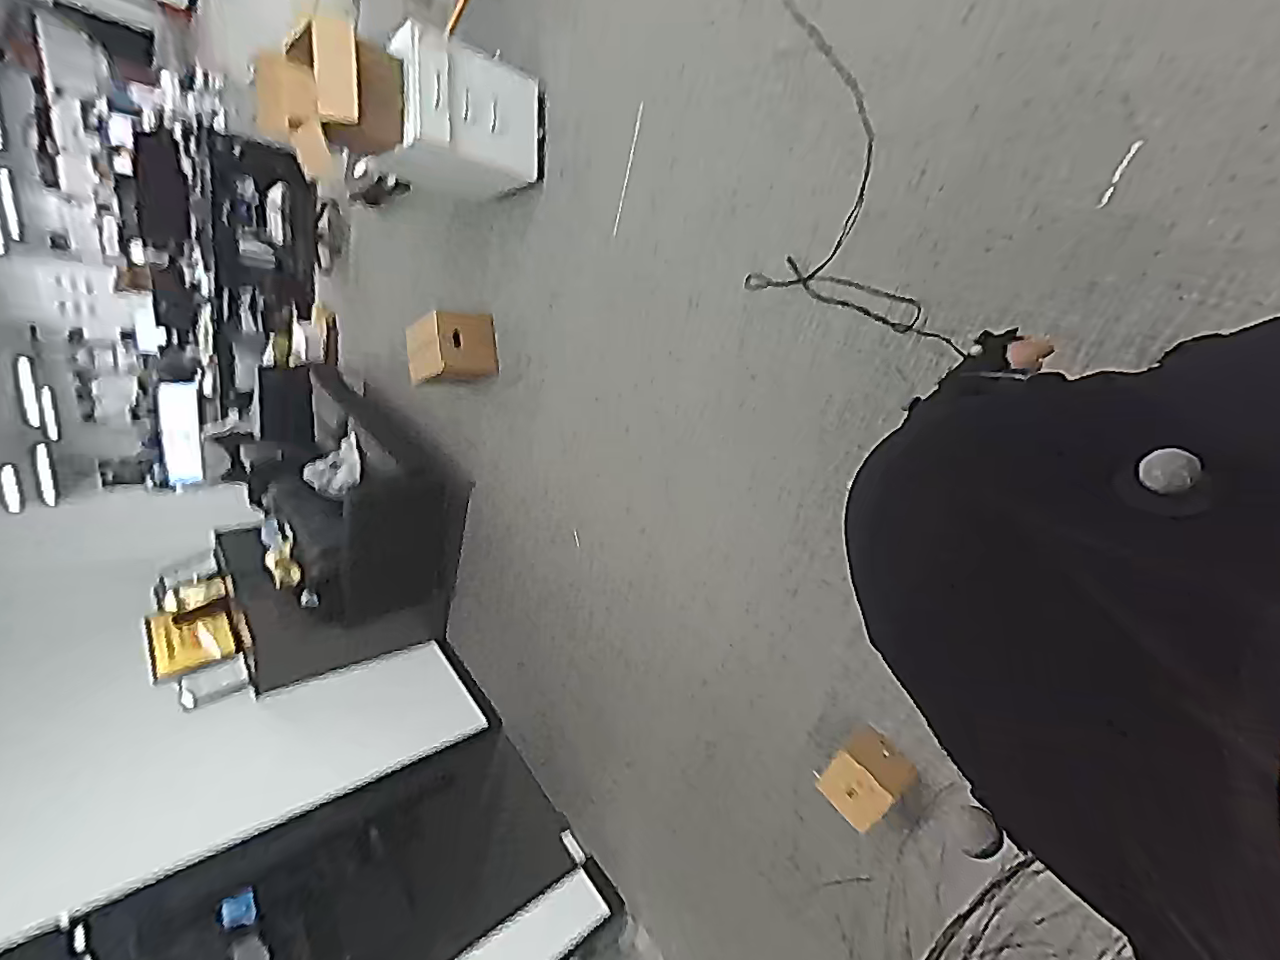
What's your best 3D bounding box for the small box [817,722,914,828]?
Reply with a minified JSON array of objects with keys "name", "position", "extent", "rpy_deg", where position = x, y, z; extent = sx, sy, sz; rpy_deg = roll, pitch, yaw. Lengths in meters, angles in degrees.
[{"name":"small box","position":[0.649,0.839,1.549],"extent":[0.168,0.176,0.179],"rpy_deg":[41,123,34]}]
